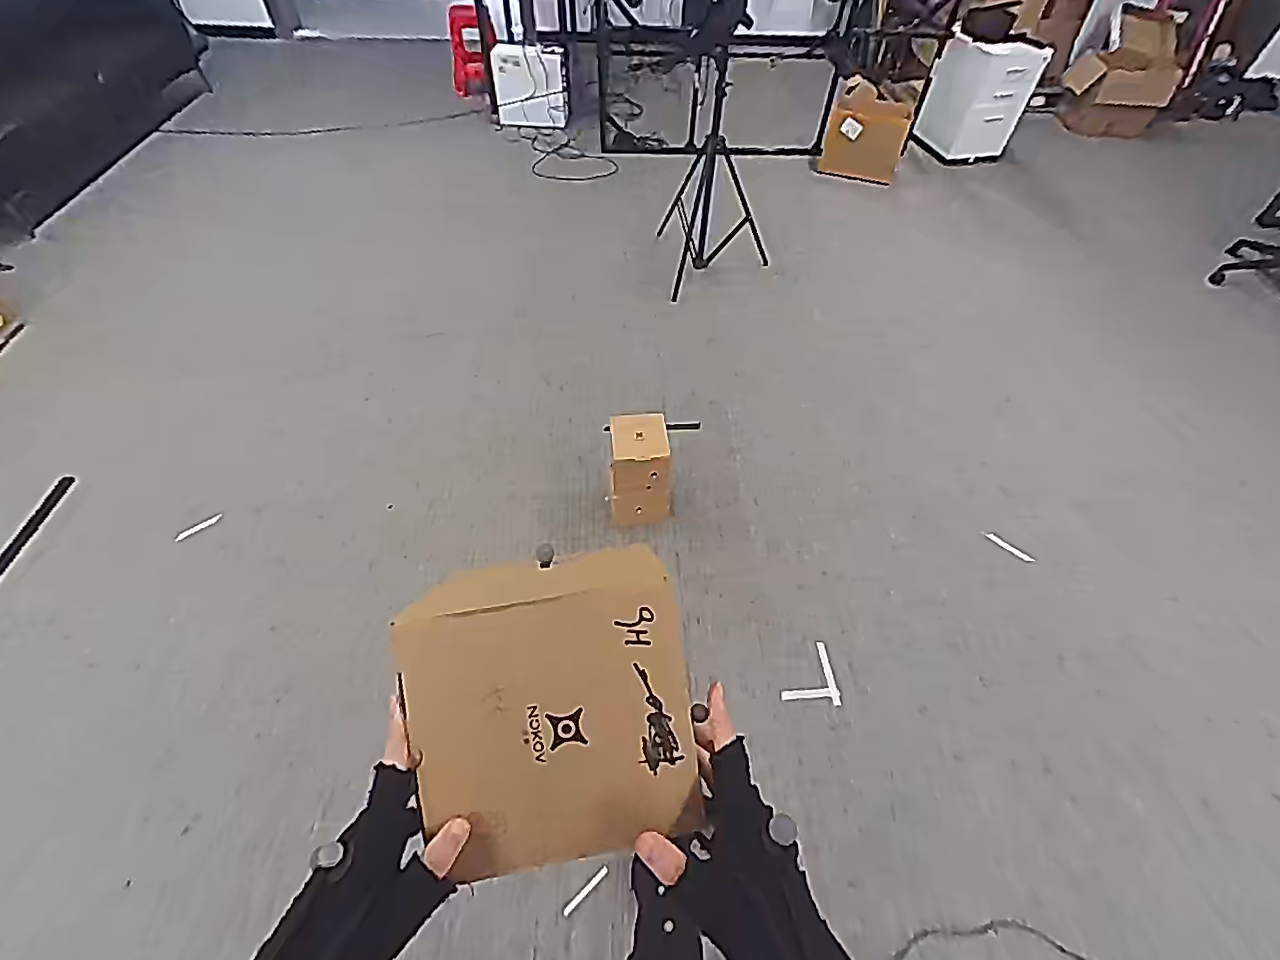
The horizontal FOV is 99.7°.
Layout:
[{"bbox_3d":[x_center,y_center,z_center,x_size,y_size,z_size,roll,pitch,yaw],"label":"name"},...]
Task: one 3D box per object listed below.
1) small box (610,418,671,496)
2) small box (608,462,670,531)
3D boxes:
[{"bbox_3d":[-0.002,-0.063,1.633,0.168,0.176,0.179,-4,51,-6],"label":"small box"},{"bbox_3d":[-0.008,0.048,1.751,0.179,0.176,0.168,-8,52,-7],"label":"small box"}]
